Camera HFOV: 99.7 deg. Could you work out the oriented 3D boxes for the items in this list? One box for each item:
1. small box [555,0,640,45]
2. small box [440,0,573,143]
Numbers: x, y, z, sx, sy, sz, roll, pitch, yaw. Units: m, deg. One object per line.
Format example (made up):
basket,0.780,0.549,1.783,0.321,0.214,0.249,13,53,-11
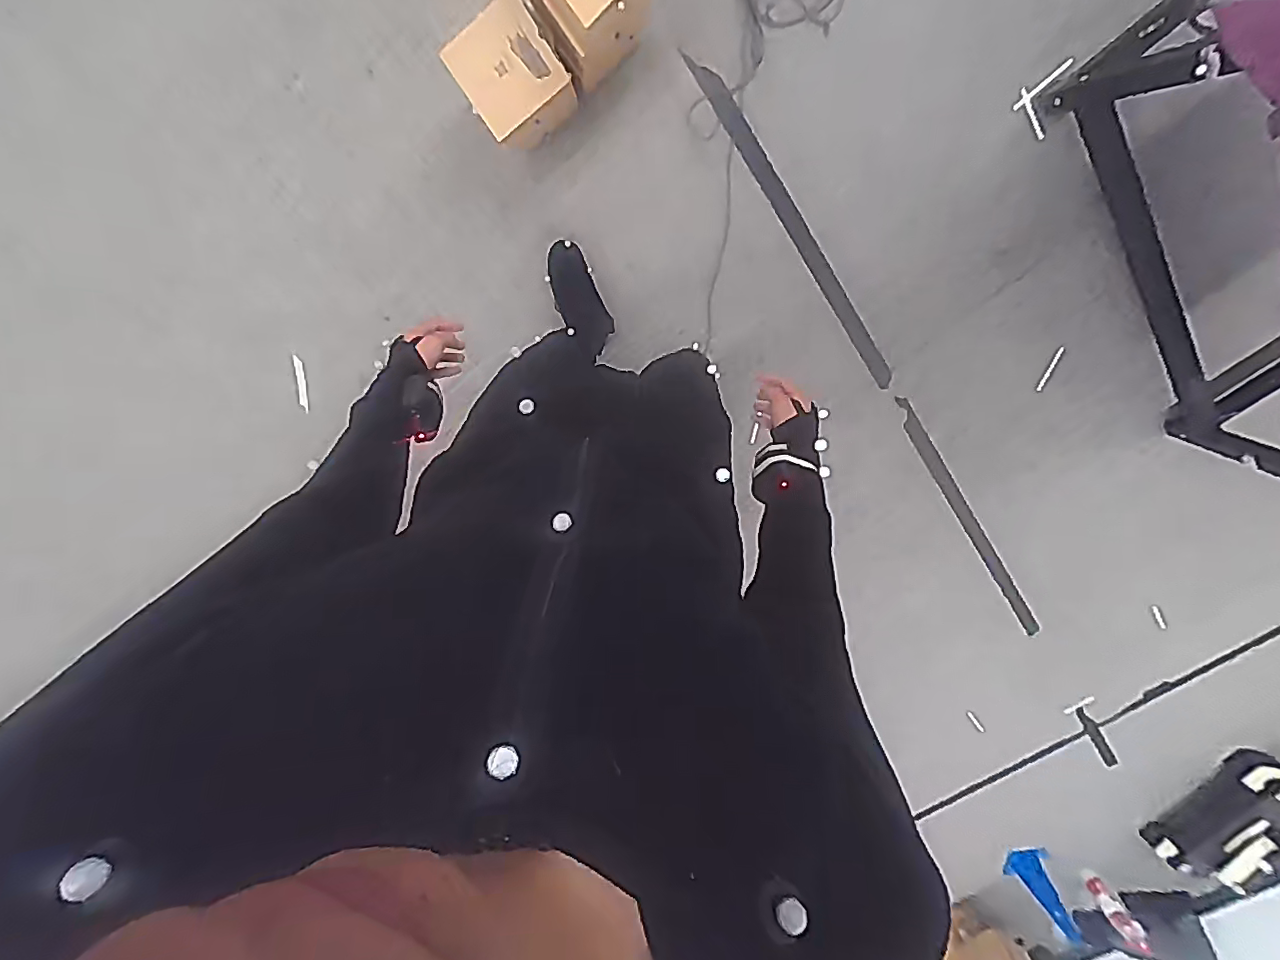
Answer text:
small box,-0.079,-0.826,0.829,0.168,0.176,0.179,-38,112,16
small box,-0.241,-0.778,1.029,0.179,0.176,0.168,-32,114,14
